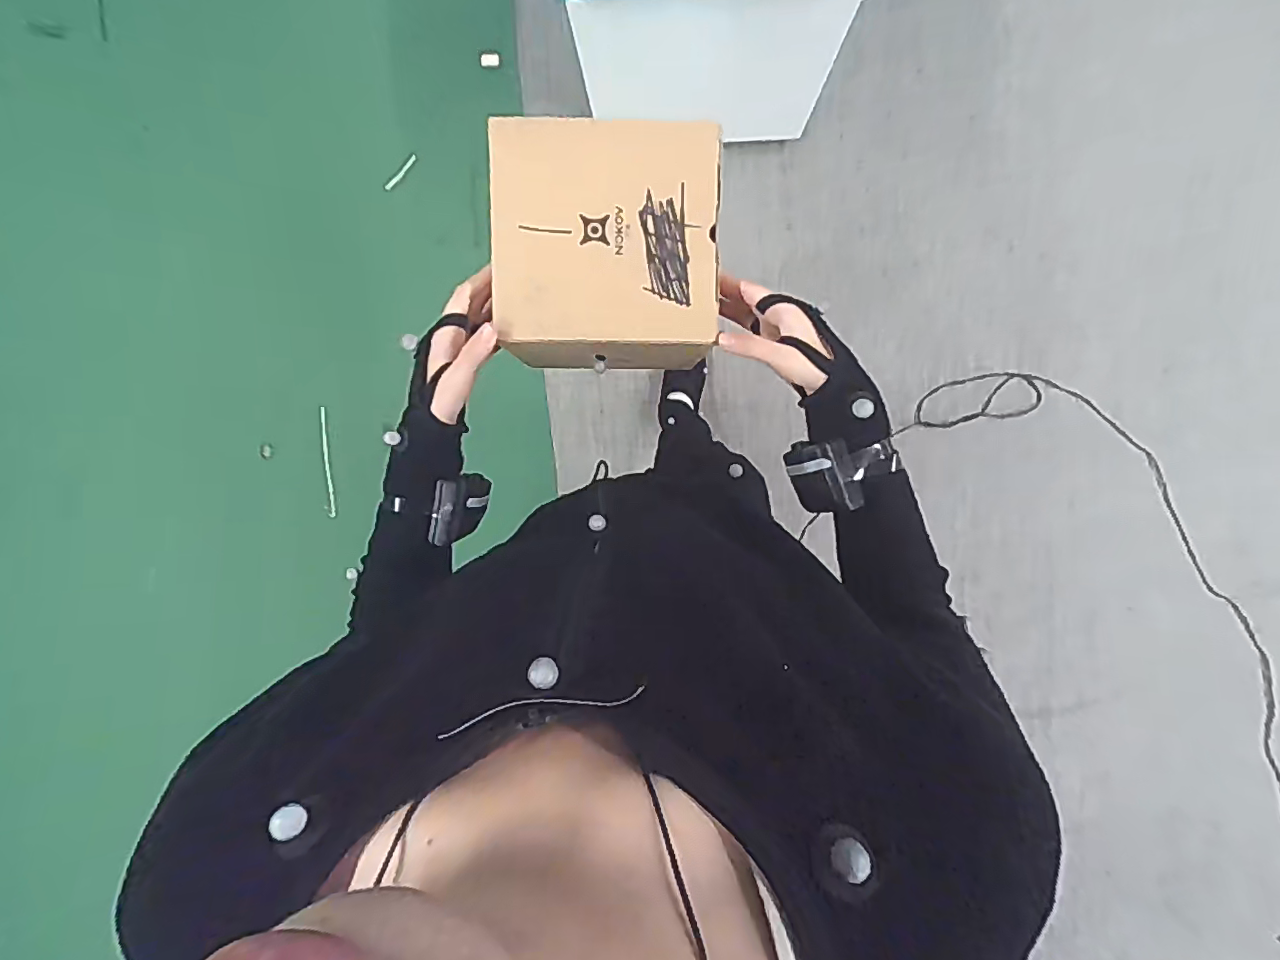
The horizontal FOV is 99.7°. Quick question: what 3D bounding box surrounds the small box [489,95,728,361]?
[{"bbox_3d":[-0.027,-0.201,0.478,0.179,0.176,0.168,0,95,-2],"label":"small box"}]
